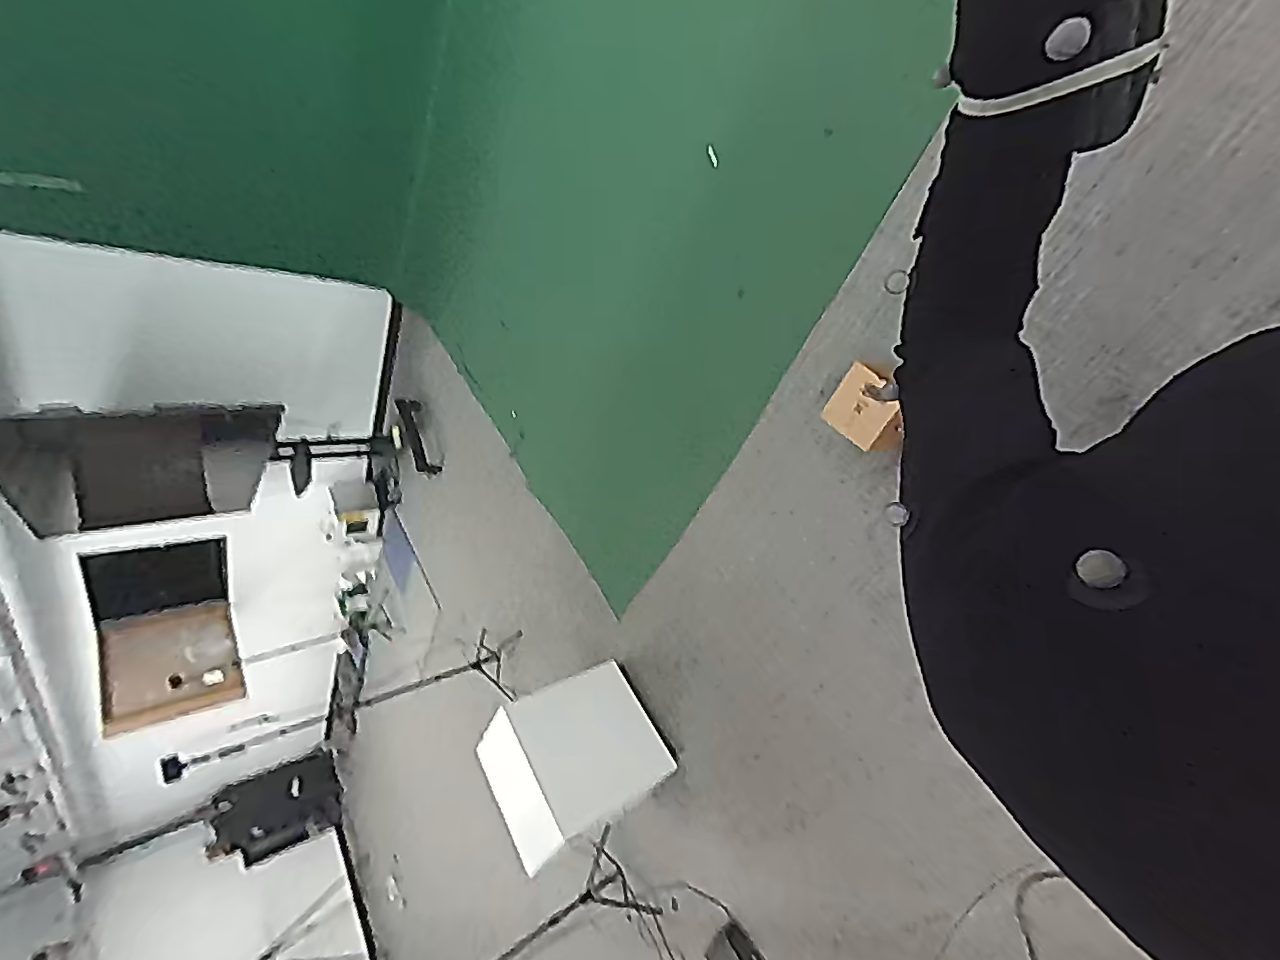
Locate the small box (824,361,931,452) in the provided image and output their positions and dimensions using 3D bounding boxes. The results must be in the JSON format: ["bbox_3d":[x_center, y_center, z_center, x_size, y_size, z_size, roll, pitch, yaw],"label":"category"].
[{"bbox_3d":[0.632,-0.194,1.426,0.168,0.176,0.179,49,128,33],"label":"small box"}]
